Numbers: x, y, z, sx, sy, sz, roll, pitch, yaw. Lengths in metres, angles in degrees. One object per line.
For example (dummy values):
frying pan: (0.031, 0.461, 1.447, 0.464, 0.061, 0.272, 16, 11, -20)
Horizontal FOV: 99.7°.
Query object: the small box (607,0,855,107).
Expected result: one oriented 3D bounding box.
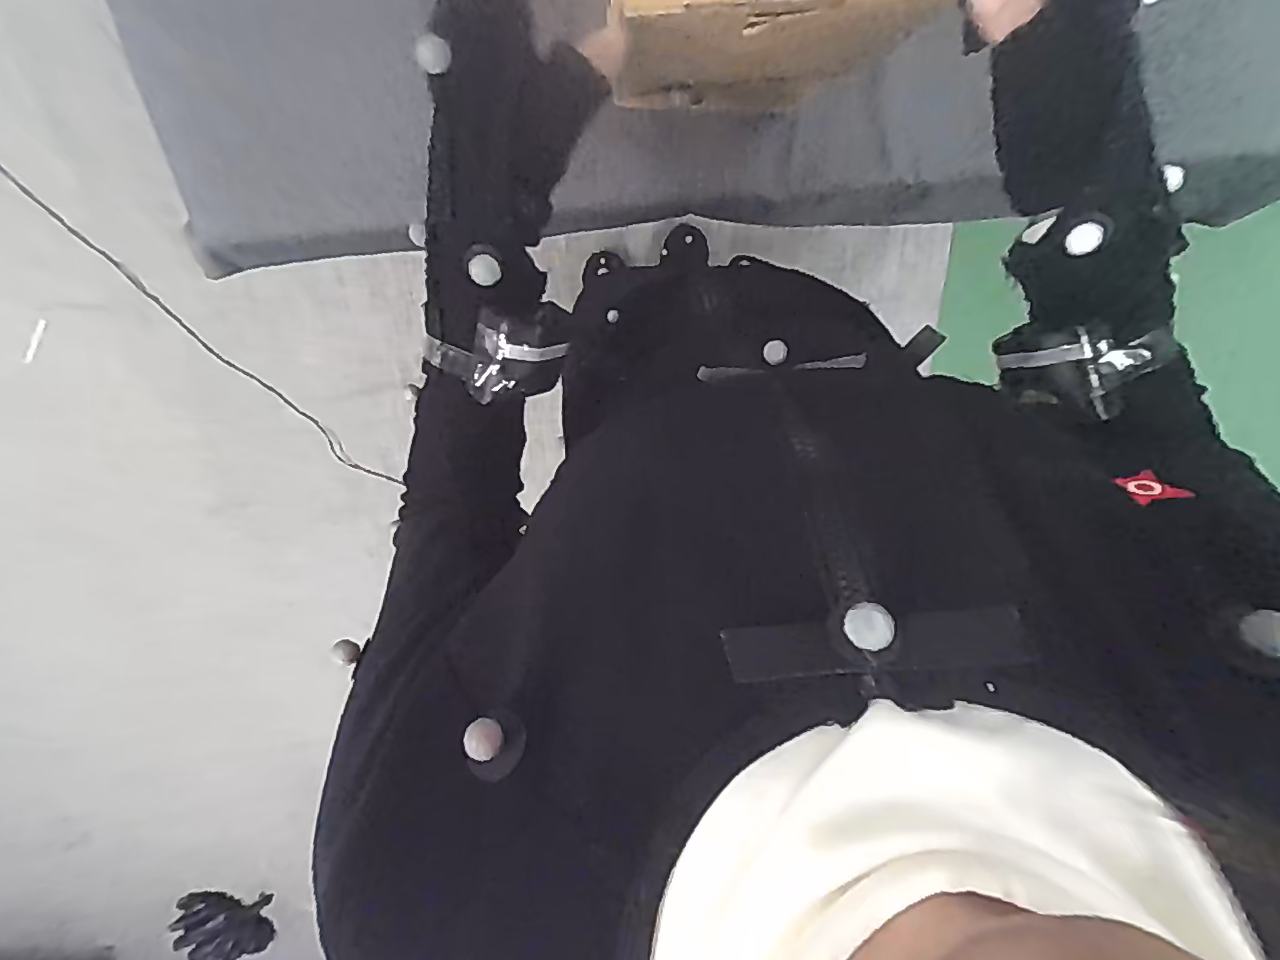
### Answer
small box: (0.064, -0.416, 0.434, 0.179, 0.176, 0.168, -2, 113, 0)
